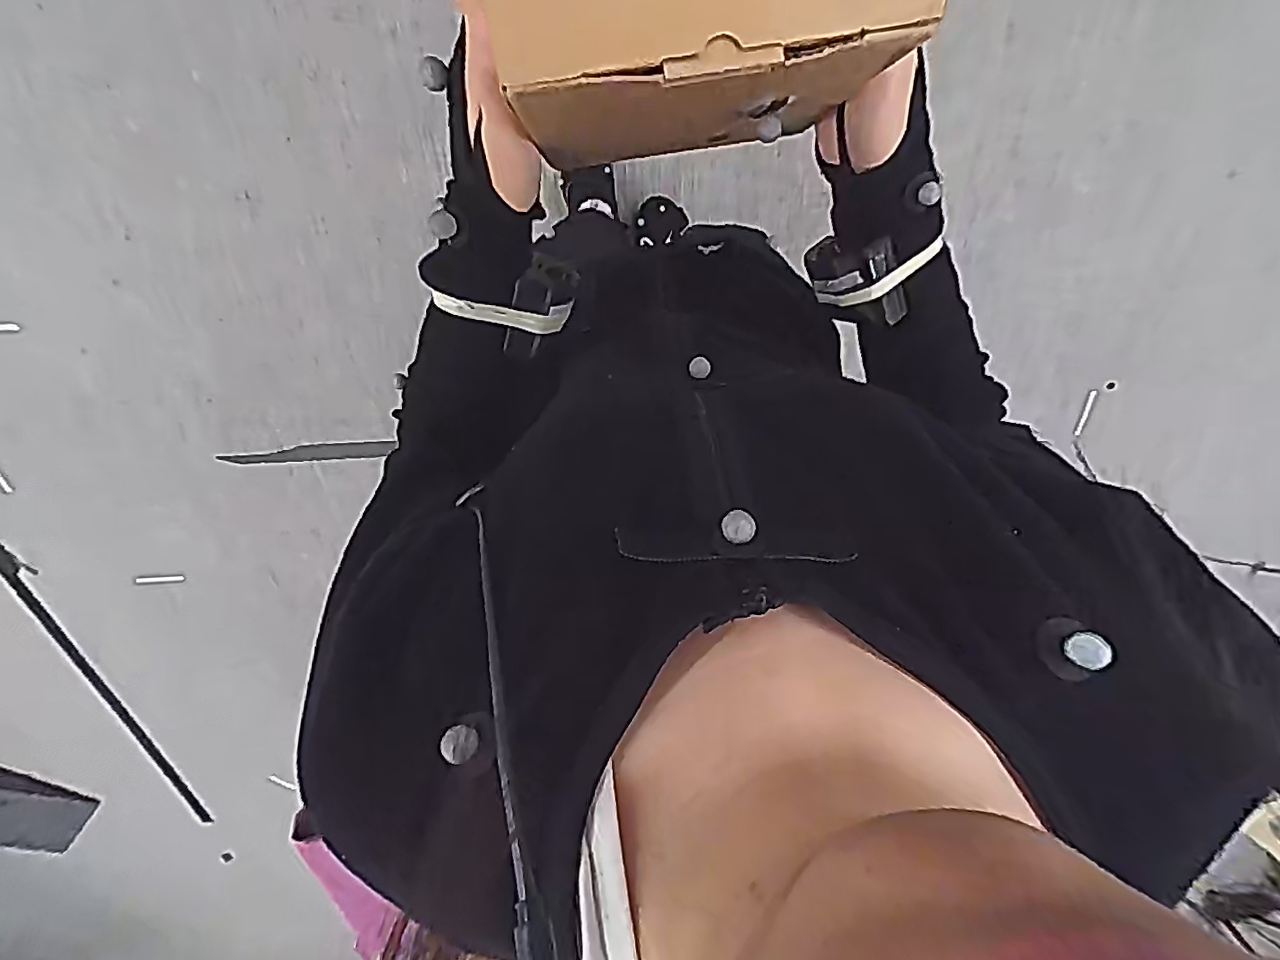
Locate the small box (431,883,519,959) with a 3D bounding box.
[{"bbox_3d":[-0.383,1.092,1.282,0.168,0.176,0.179,1,119,-4],"label":"small box"}]

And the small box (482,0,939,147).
[{"bbox_3d":[0.015,-0.264,0.237,0.168,0.176,0.179,-9,111,0],"label":"small box"}]
